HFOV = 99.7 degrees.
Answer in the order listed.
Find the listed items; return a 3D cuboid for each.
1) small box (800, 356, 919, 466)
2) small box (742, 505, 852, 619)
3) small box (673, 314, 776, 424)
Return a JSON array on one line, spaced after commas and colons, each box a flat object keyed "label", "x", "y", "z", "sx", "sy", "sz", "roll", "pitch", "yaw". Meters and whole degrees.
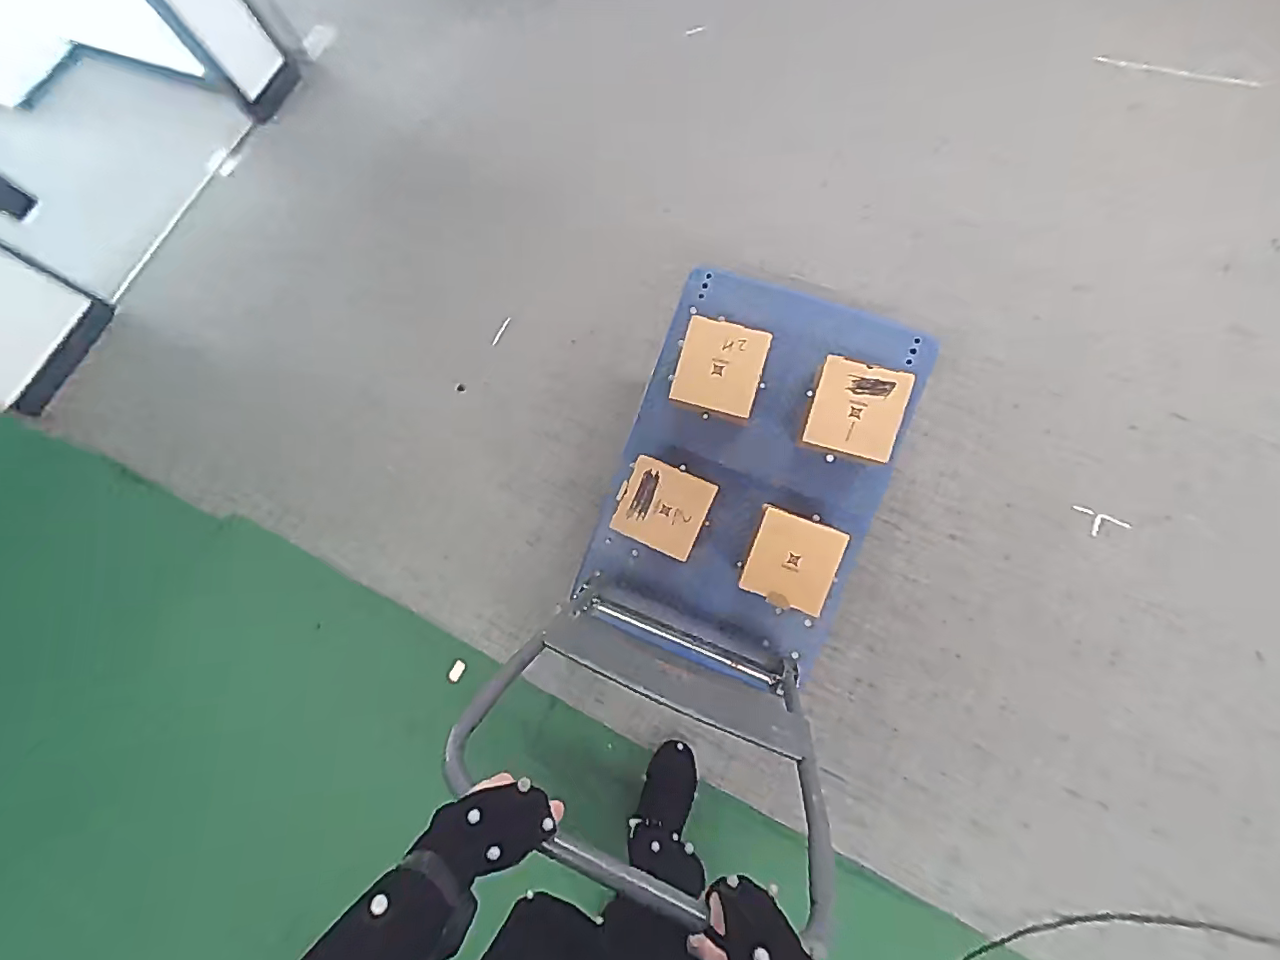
[{"label": "small box", "x": 0.437, "y": -0.134, "z": 1.107, "sx": 0.168, "sy": 0.176, "sz": 0.179, "roll": 17, "pitch": 95, "yaw": 10}, {"label": "small box", "x": 0.317, "y": 0.160, "z": 1.132, "sx": 0.168, "sy": 0.176, "sz": 0.179, "roll": 21, "pitch": 95, "yaw": 9}, {"label": "small box", "x": 0.180, "y": -0.227, "z": 1.152, "sx": 0.168, "sy": 0.176, "sz": 0.179, "roll": 17, "pitch": 93, "yaw": 9}]
